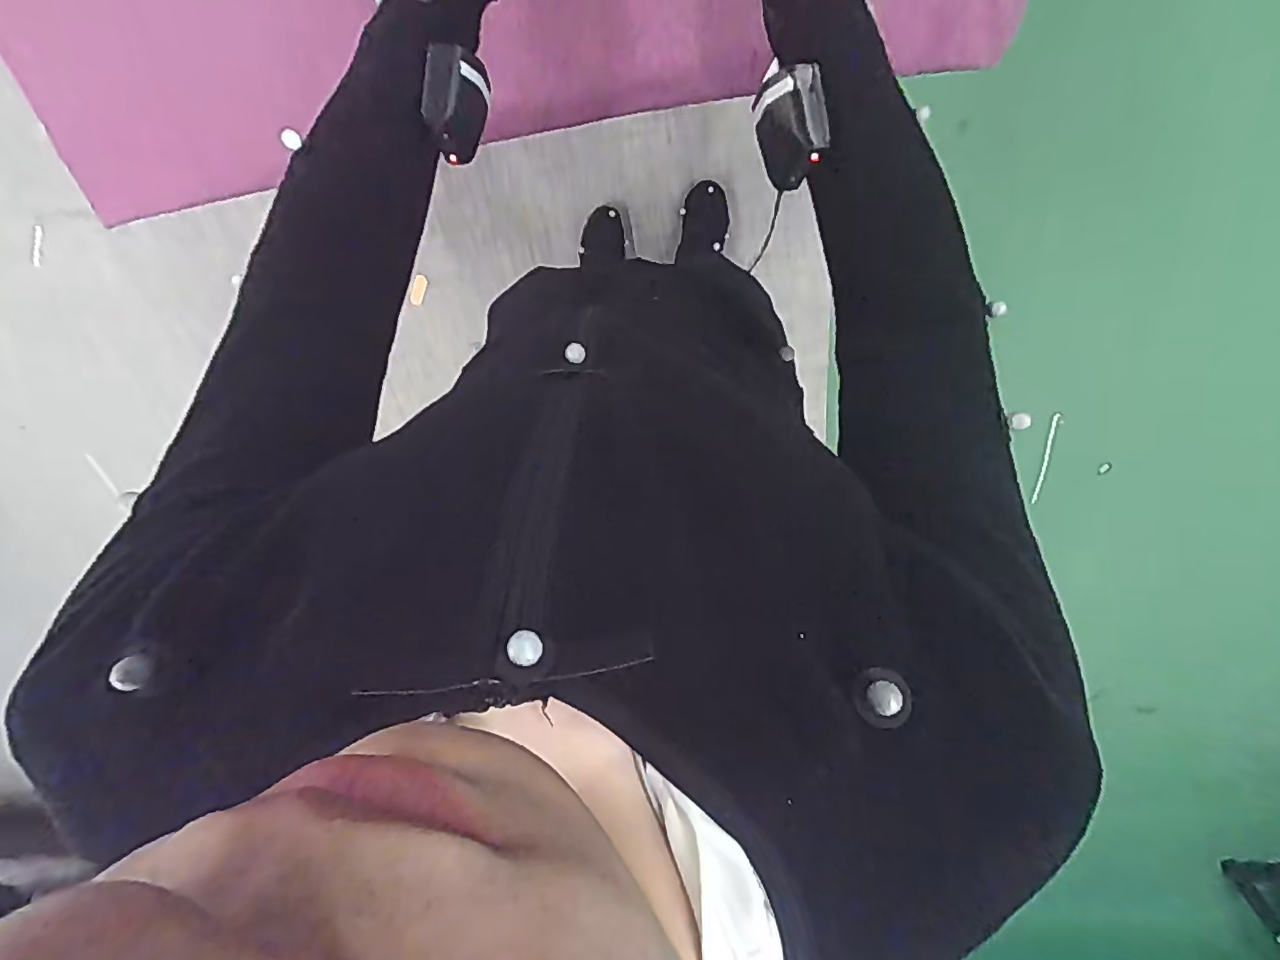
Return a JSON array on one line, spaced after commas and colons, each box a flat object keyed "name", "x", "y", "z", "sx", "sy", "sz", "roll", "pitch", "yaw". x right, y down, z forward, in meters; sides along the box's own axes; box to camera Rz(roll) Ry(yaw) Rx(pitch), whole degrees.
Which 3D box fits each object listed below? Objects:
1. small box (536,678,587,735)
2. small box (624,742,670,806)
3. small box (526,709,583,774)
[{"name": "small box", "x": -0.322, "y": 0.951, "z": 2.272, "sx": 0.179, "sy": 0.176, "sz": 0.168, "roll": -5, "pitch": 120, "yaw": 6}, {"name": "small box", "x": 0.031, "y": 1.189, "z": 2.192, "sx": 0.179, "sy": 0.176, "sz": 0.168, "roll": 1, "pitch": 121, "yaw": 3}, {"name": "small box", "x": -0.332, "y": 1.026, "z": 2.129, "sx": 0.179, "sy": 0.176, "sz": 0.168, "roll": -6, "pitch": 119, "yaw": 6}]
